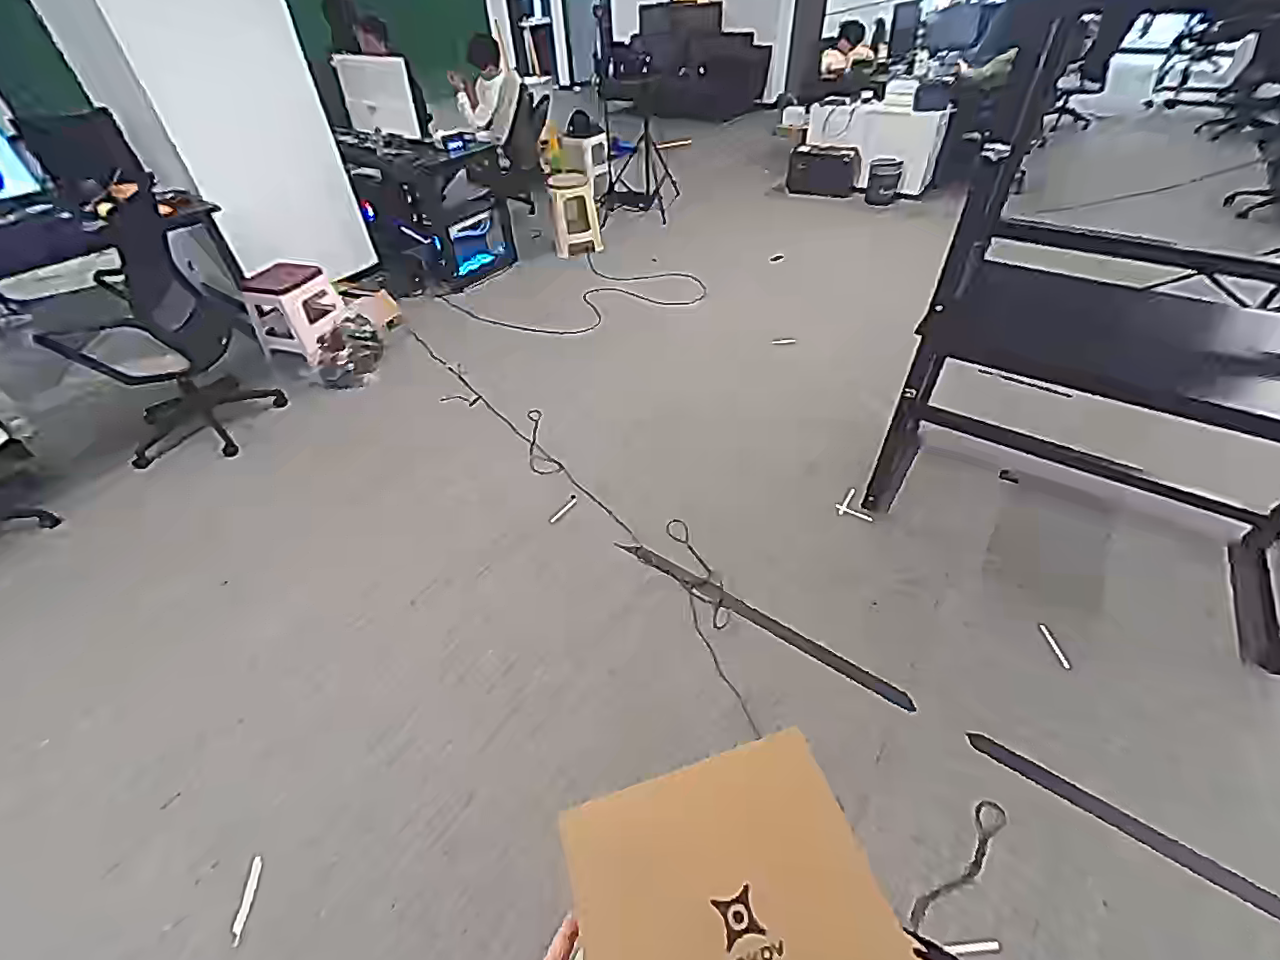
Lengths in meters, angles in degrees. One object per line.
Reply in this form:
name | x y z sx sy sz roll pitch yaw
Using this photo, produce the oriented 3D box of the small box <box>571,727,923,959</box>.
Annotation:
small box | 0.057 0.295 0.346 0.168 0.176 0.179 -13 49 -12
